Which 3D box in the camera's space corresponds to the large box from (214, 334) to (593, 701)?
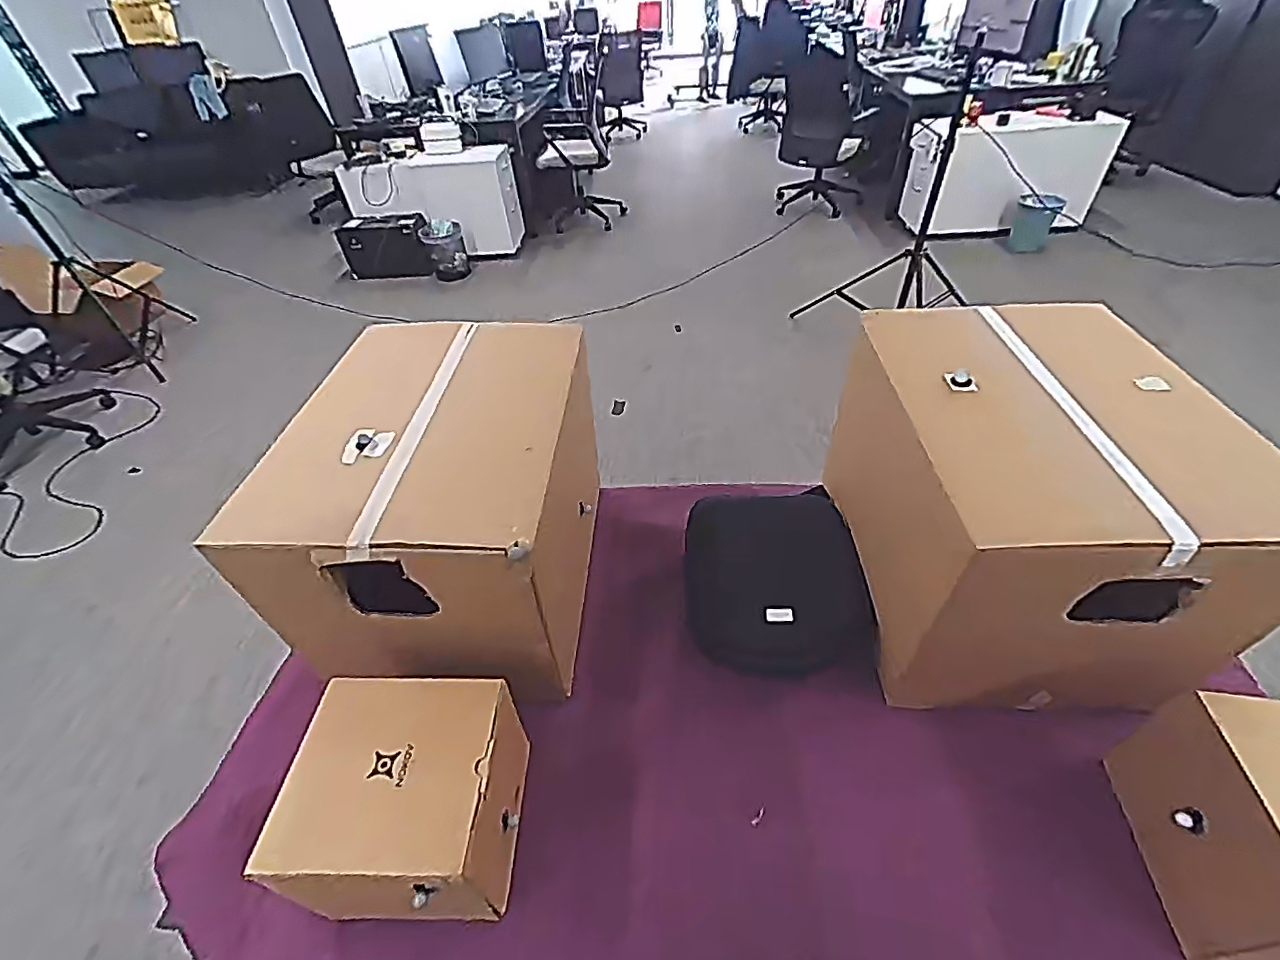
[{"bbox_3d":[-0.239,0.042,0.738,0.320,0.320,0.408,0,46,3],"label":"large box"}]
